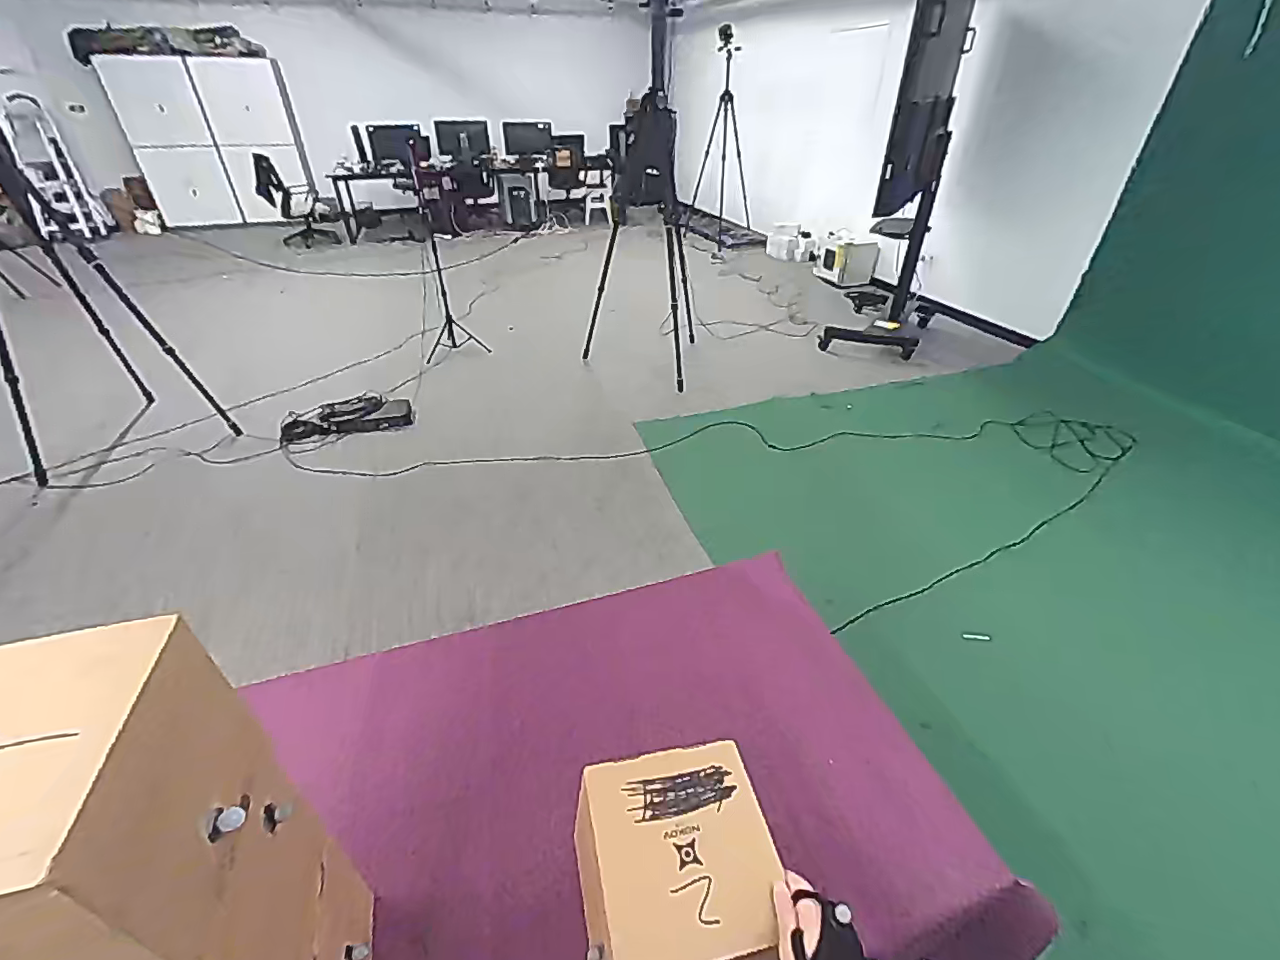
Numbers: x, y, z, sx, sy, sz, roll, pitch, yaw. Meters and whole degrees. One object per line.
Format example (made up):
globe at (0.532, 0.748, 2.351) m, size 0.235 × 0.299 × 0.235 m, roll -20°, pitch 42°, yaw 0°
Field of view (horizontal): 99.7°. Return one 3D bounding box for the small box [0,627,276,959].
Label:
small box at (-0.367, 0.225, 0.332) m, size 0.179 × 0.176 × 0.168 m, roll -10°, pitch 36°, yaw -14°

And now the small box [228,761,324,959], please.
small box at (-0.370, 0.361, 0.425) m, size 0.168 × 0.176 × 0.179 m, roll -12°, pitch 37°, yaw -15°

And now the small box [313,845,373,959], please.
small box at (-0.368, 0.499, 0.516) m, size 0.179 × 0.176 × 0.168 m, roll -12°, pitch 36°, yaw -17°
